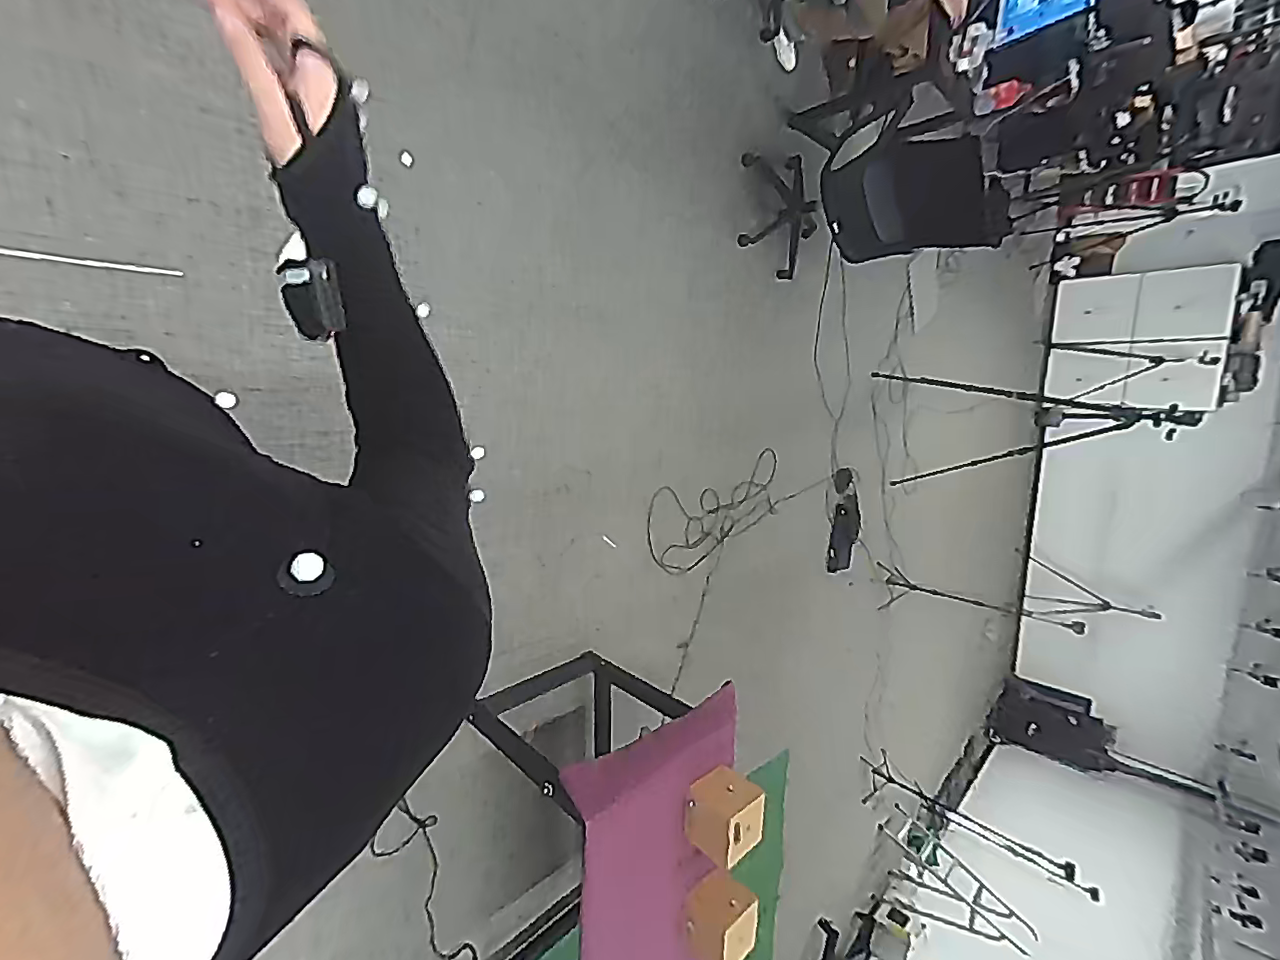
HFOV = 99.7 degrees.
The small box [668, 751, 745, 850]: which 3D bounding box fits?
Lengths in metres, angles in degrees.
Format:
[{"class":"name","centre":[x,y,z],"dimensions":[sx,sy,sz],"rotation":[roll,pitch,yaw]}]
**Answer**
[{"class":"small box","centre":[0.206,0.991,1.689],"dimensions":[0.179,0.176,0.168],"rotation":[-6,103,-45]}]

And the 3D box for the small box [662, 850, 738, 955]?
[{"class":"small box","centre":[0.195,1.362,1.760],"dimensions":[0.179,0.176,0.168],"rotation":[-3,100,-45]}]
